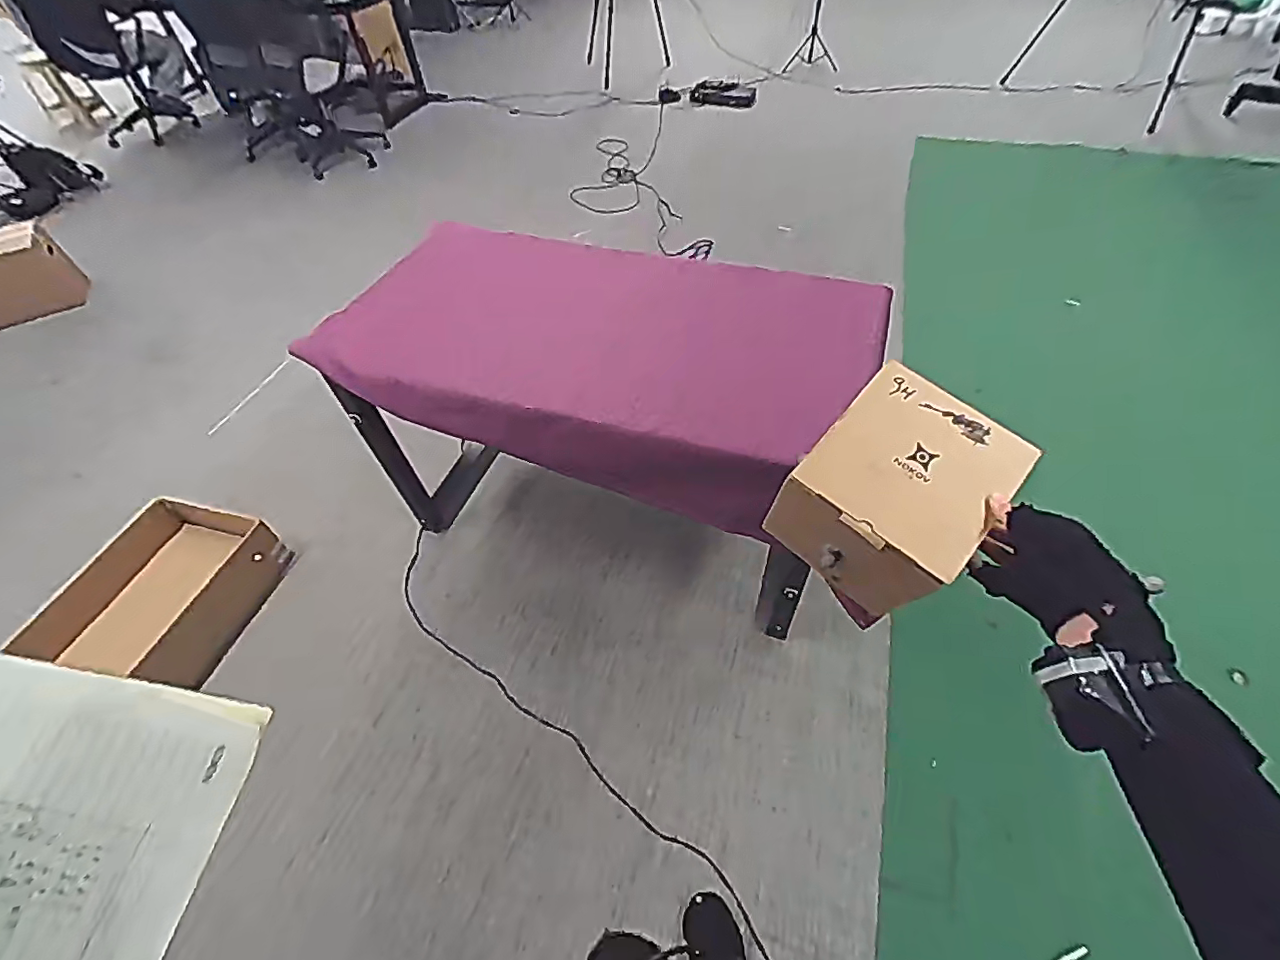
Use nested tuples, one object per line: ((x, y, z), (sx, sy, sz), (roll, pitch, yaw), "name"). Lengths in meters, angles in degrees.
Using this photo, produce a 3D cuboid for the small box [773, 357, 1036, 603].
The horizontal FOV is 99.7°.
((0.262, 0.011, 0.585), (0.168, 0.176, 0.179), (39, 76, 16), "small box")
